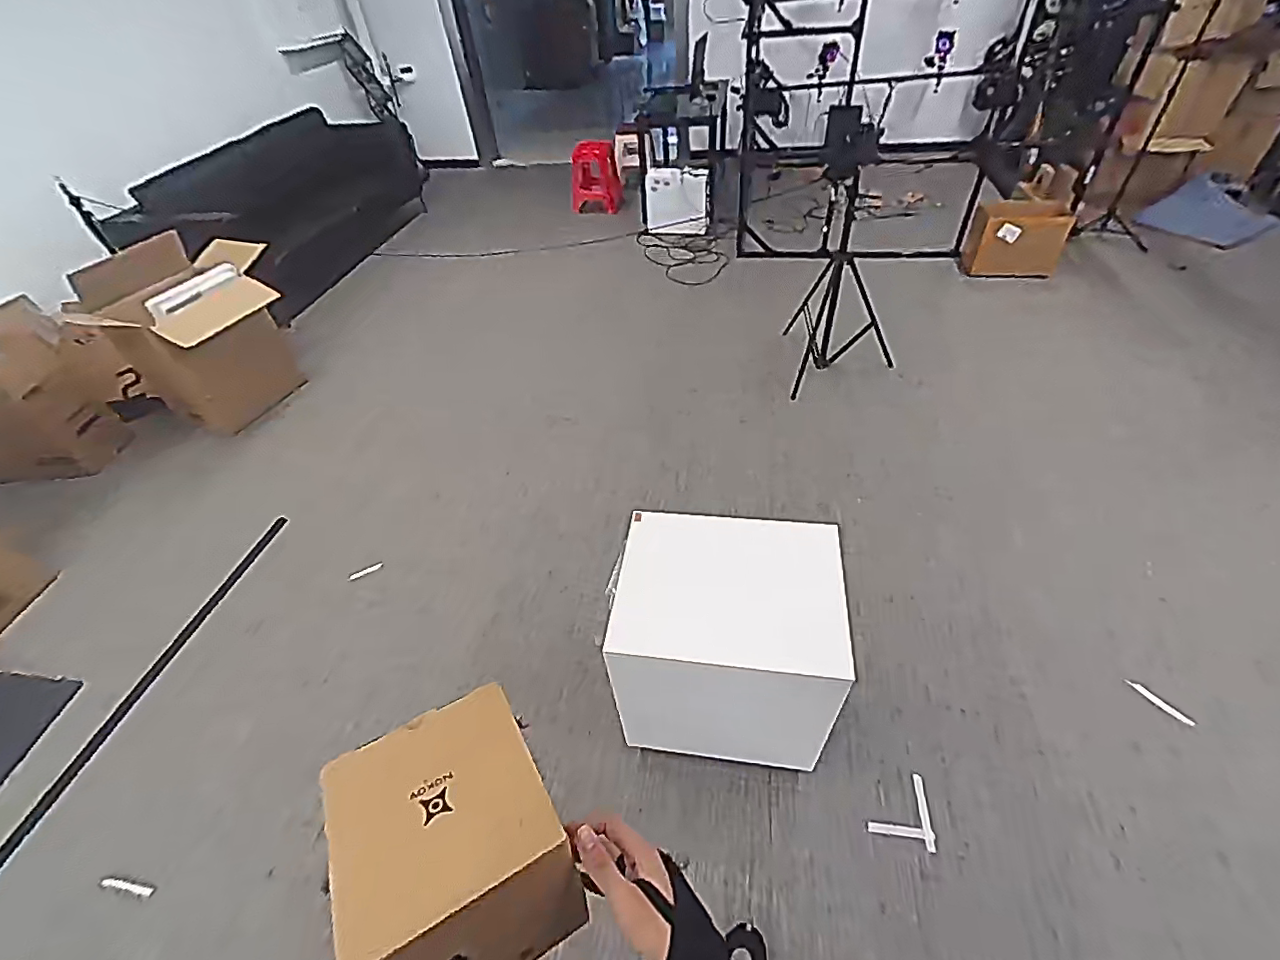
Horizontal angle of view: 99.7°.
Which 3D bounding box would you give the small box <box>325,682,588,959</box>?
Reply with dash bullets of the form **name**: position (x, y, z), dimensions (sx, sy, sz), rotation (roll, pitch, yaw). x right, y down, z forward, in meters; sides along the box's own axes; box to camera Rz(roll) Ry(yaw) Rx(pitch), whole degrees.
- **small box**: position (-0.159, 0.331, 0.488), dimensions (0.168, 0.176, 0.179), rotation (-21, 36, -24)
